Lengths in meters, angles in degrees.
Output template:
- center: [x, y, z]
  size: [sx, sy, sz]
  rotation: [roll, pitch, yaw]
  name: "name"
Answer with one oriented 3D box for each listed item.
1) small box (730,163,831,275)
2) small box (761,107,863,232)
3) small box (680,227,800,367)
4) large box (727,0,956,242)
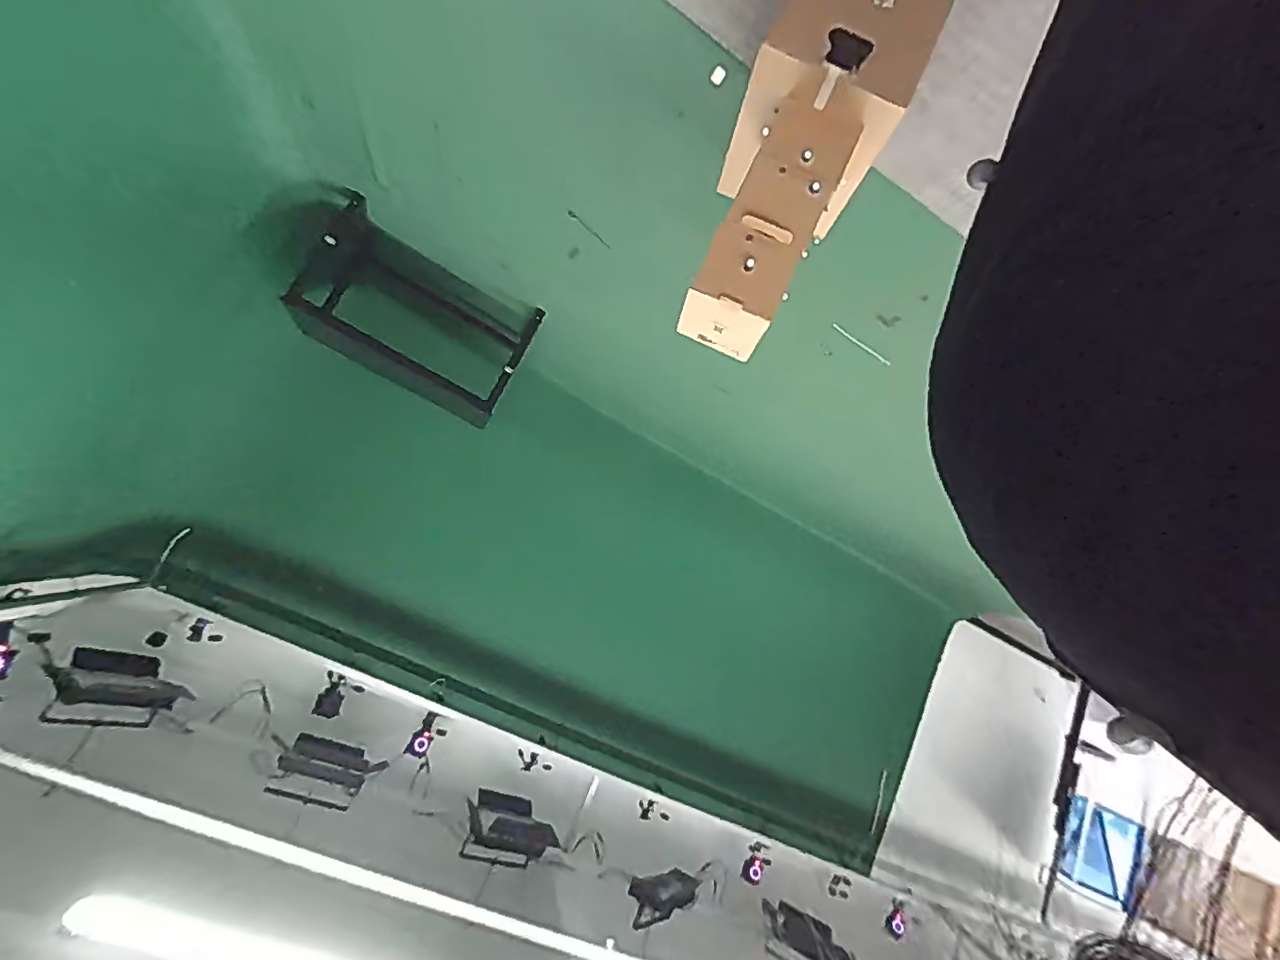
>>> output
- center: [0.274, -0.508, 1.121]
  size: [0.168, 0.176, 0.179]
  rotation: [26, 167, 2]
  name: "small box"
- center: [0.347, -0.649, 1.162]
  size: [0.179, 0.176, 0.168]
  rotation: [26, 167, 1]
  name: "small box"
- center: [0.200, -0.365, 1.086]
  size: [0.168, 0.176, 0.179]
  rotation: [26, 166, 2]
  name: "small box"
- center: [0.438, -0.858, 1.258]
  size: [0.320, 0.320, 0.408]
  rotation: [27, 168, 2]
  name: "large box"
